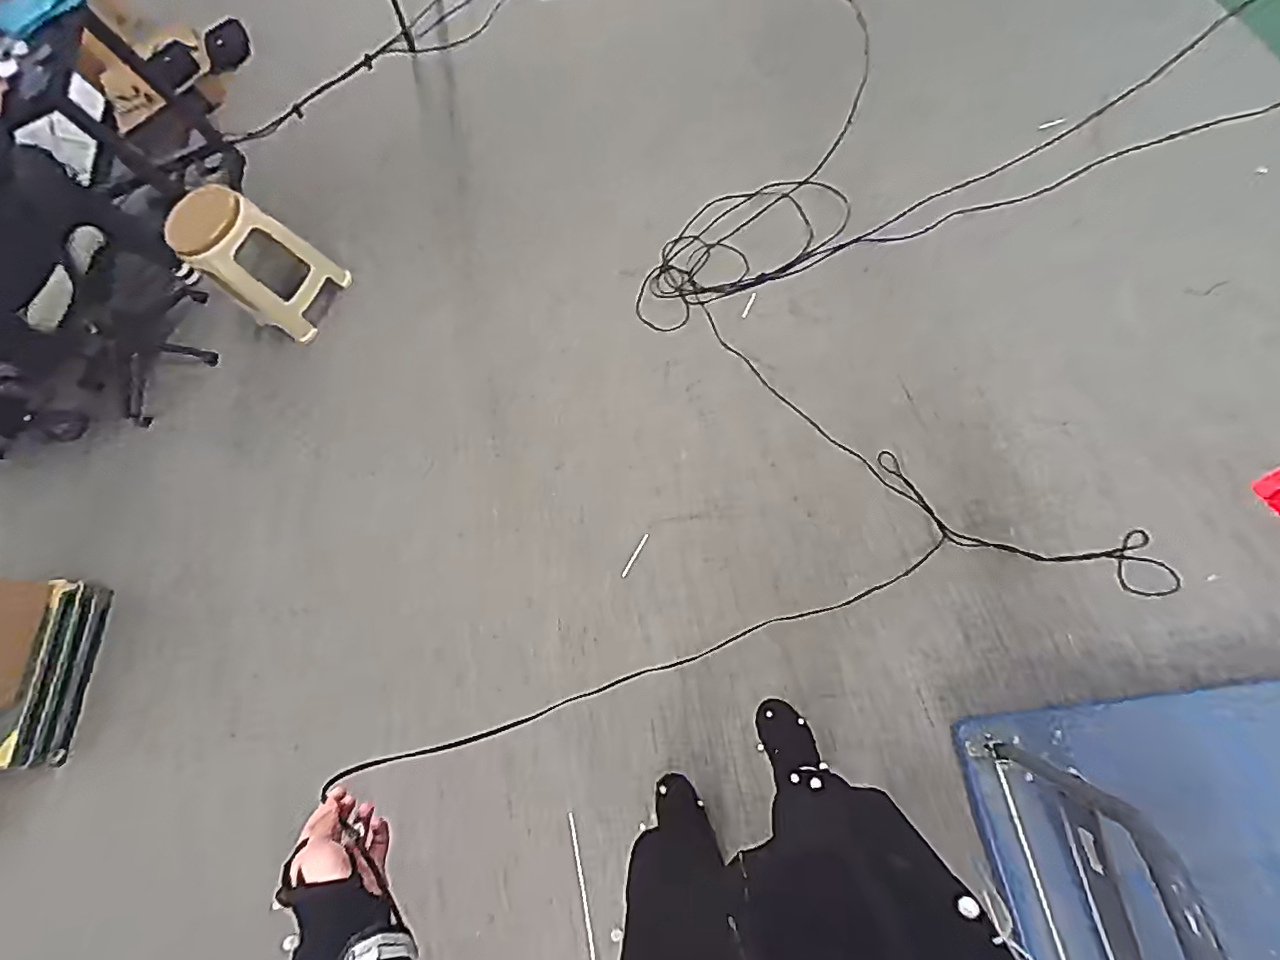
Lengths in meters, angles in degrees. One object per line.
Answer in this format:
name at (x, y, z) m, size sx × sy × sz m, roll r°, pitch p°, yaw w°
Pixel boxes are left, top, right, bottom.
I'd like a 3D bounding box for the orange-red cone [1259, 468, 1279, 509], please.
orange-red cone at (1.526, -0.018, 1.074) m, size 0.198 × 0.360 × 0.199 m, roll -29°, pitch 66°, yaw 3°
